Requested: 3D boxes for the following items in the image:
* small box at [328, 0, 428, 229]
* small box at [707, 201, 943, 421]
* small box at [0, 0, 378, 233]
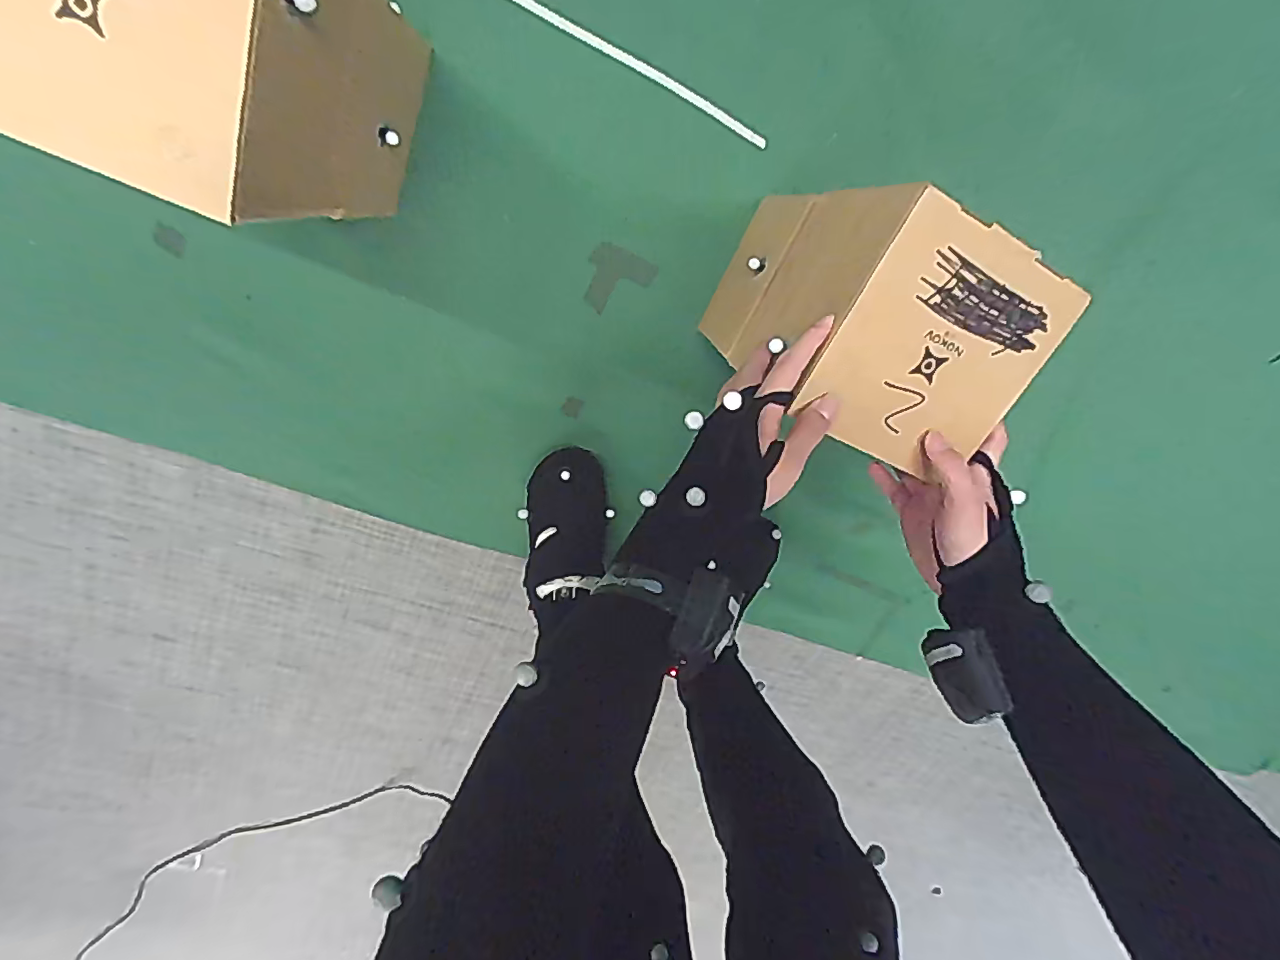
[{"bbox_3d":[-0.315,-0.360,0.507,0.168,0.176,0.179,20,114,-14],"label":"small box"},{"bbox_3d":[0.195,-0.201,0.632,0.168,0.176,0.179,21,113,-15],"label":"small box"},{"bbox_3d":[-0.300,-0.288,0.363,0.168,0.176,0.179,19,112,-13],"label":"small box"}]
